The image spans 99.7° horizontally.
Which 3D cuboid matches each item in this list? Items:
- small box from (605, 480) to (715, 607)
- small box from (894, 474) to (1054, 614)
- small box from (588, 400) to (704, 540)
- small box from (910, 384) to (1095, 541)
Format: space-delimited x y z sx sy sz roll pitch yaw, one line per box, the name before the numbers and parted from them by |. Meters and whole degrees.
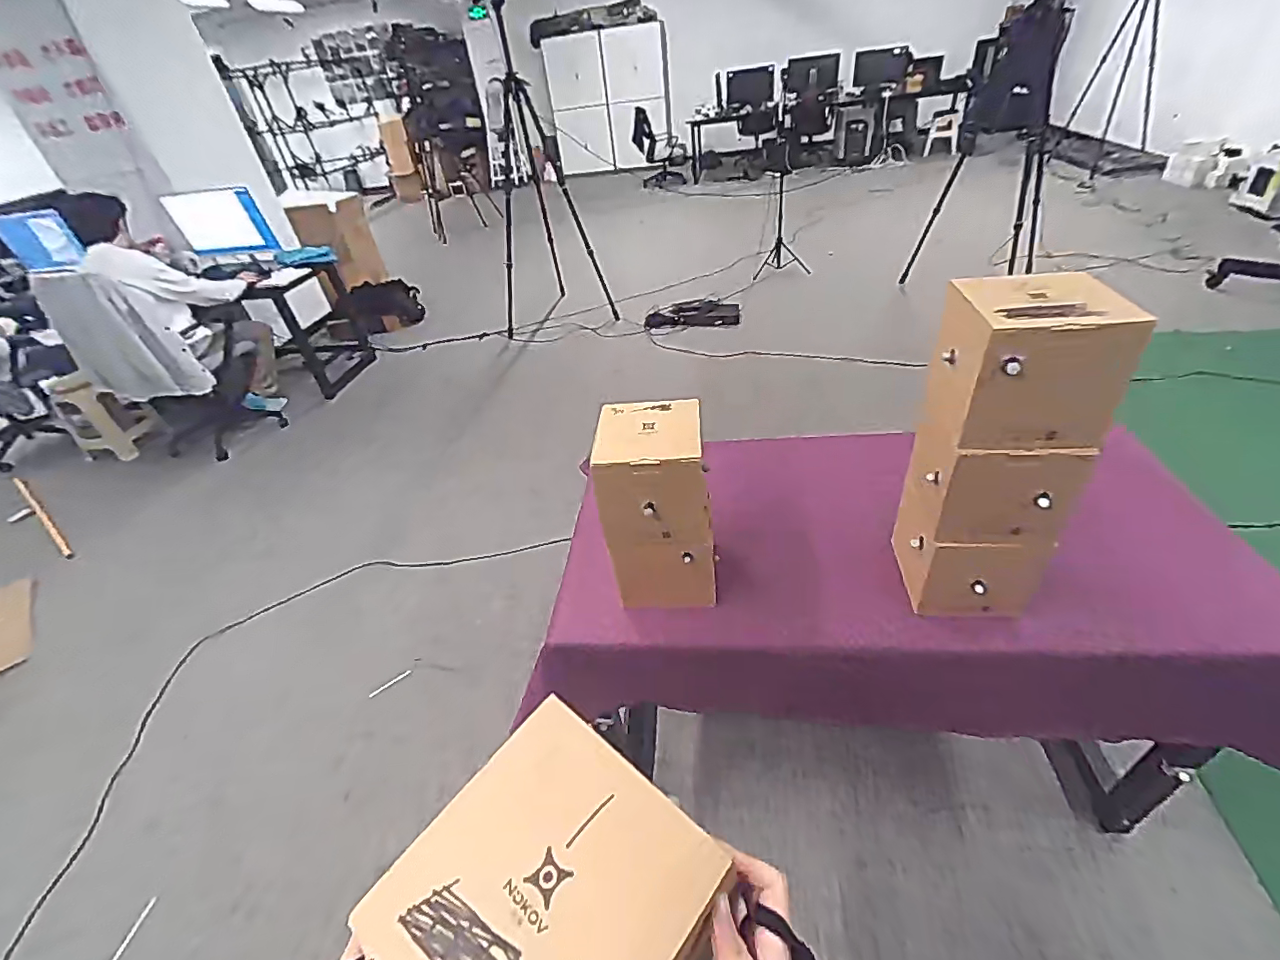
small box | 0.044 0.119 0.992 0.179 0.176 0.168 -3 38 8
small box | 0.539 0.105 0.901 0.168 0.176 0.179 -1 38 10
small box | 0.020 -0.013 0.896 0.168 0.176 0.179 -2 38 7
small box | 0.518 -0.025 0.805 0.168 0.176 0.179 0 38 12
